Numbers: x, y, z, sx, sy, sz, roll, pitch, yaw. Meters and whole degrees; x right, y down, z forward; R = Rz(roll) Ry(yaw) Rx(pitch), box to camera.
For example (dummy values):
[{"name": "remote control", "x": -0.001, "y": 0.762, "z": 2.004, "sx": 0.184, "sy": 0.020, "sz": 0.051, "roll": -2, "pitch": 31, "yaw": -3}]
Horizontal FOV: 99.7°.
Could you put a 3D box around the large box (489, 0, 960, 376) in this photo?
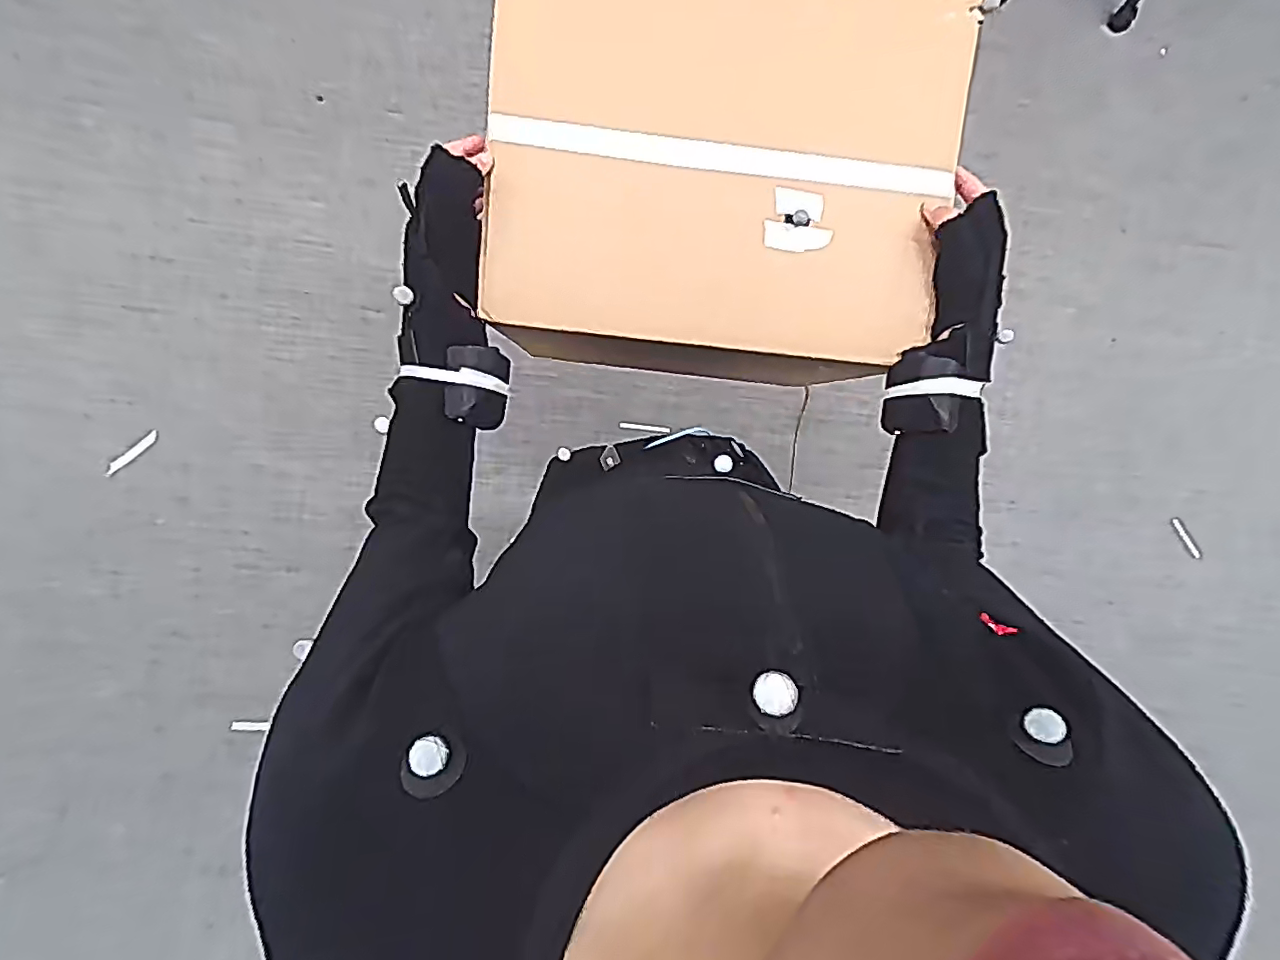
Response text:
[{"name": "large box", "x": 0.062, "y": -0.302, "z": 0.626, "sx": 0.408, "sy": 0.320, "sz": 0.320, "roll": 5, "pitch": 98, "yaw": -4}]
